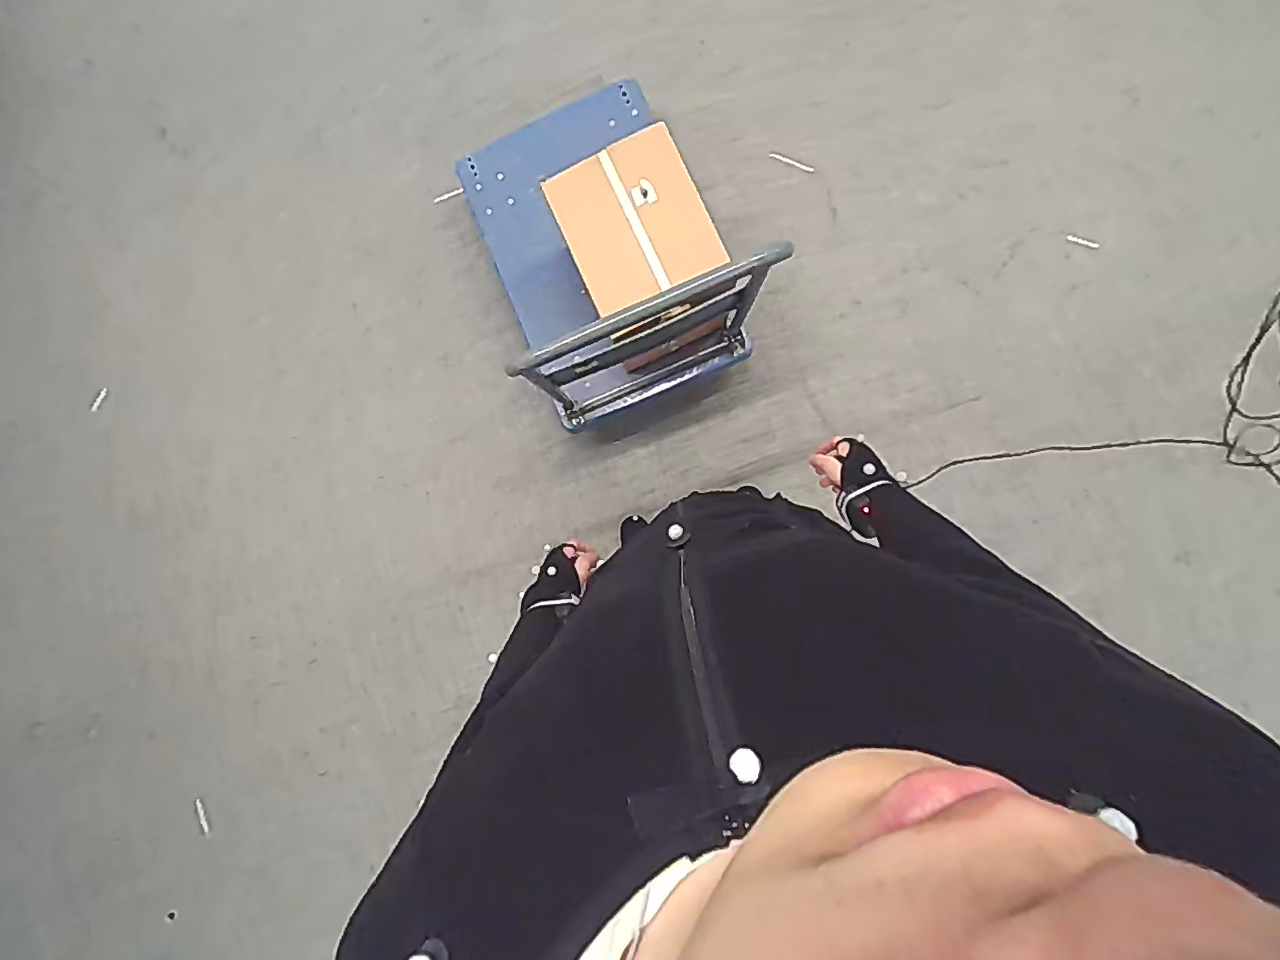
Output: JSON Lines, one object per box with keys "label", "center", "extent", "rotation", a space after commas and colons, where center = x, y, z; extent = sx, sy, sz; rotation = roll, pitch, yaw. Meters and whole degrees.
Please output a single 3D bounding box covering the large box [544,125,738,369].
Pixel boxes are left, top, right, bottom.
{"label": "large box", "center": [0.013, -0.553, 1.357], "extent": [0.320, 0.320, 0.408], "rotation": [-25, 85, 3]}
